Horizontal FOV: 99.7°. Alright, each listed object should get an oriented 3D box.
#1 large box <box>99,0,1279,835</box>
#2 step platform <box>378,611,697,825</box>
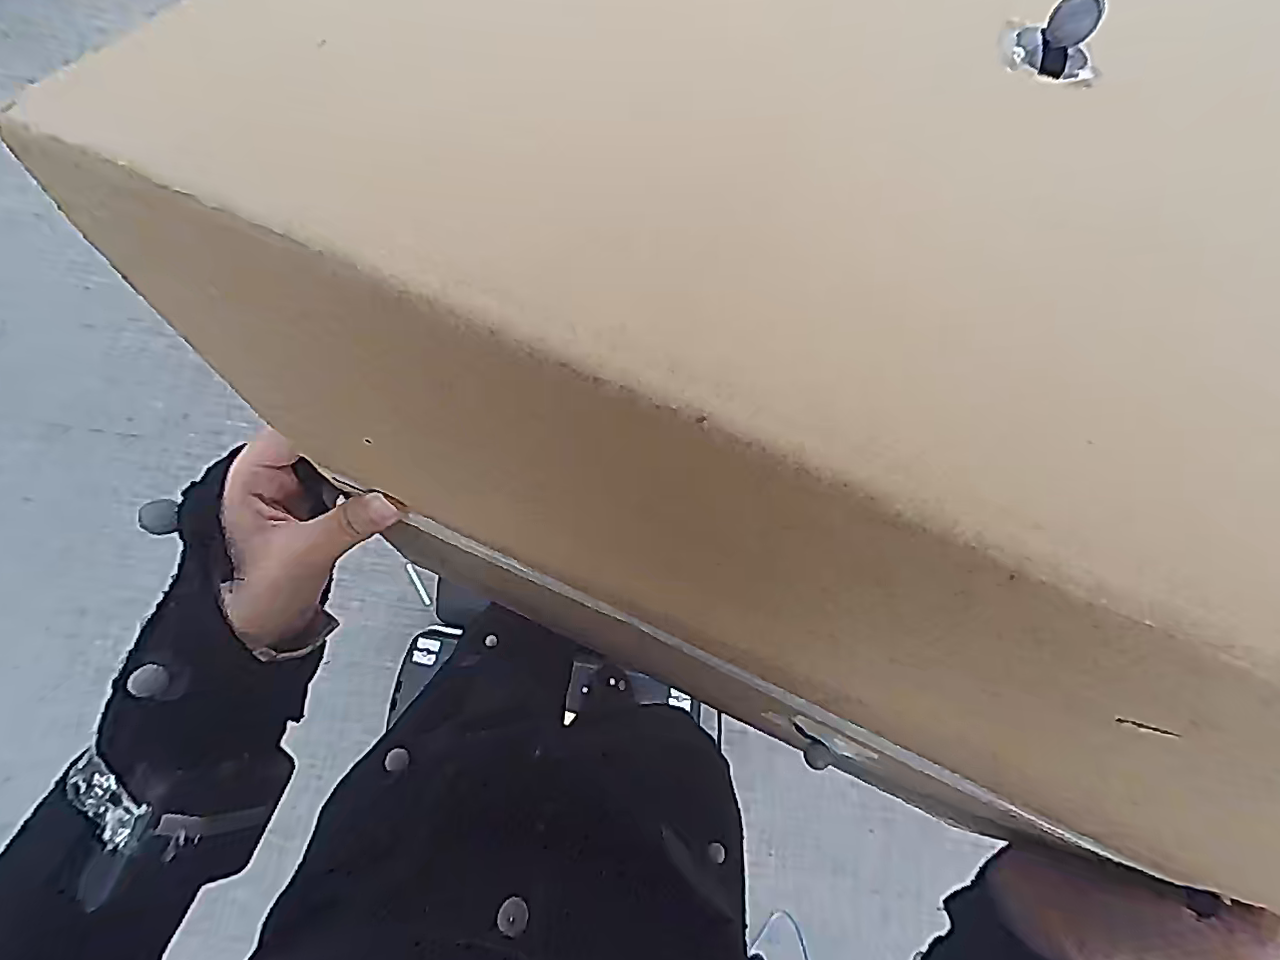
[{"bbox_3d":[0.112,-0.074,0.286,0.408,0.320,0.320,24,65,5],"label":"large box"},{"bbox_3d":[-0.217,0.521,1.227,0.684,0.204,0.286,15,79,3],"label":"step platform"}]
